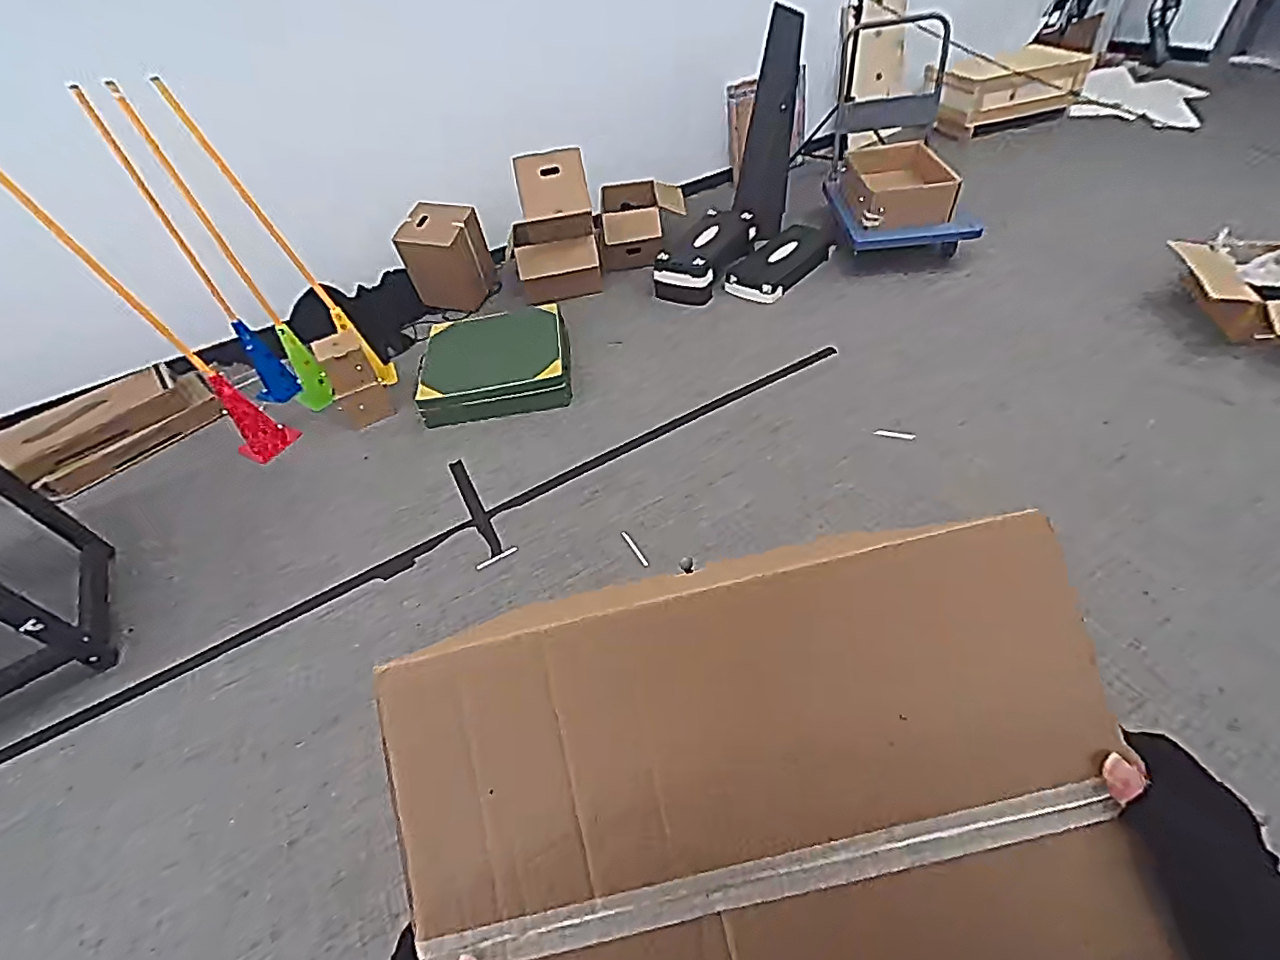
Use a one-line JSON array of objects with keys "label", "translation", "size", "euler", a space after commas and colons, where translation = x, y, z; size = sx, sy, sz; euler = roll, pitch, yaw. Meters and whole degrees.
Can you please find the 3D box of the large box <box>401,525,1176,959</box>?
[{"label": "large box", "translation": [0.087, 0.239, 0.458], "size": [0.408, 0.320, 0.320], "euler": [-14, 82, 0]}]
